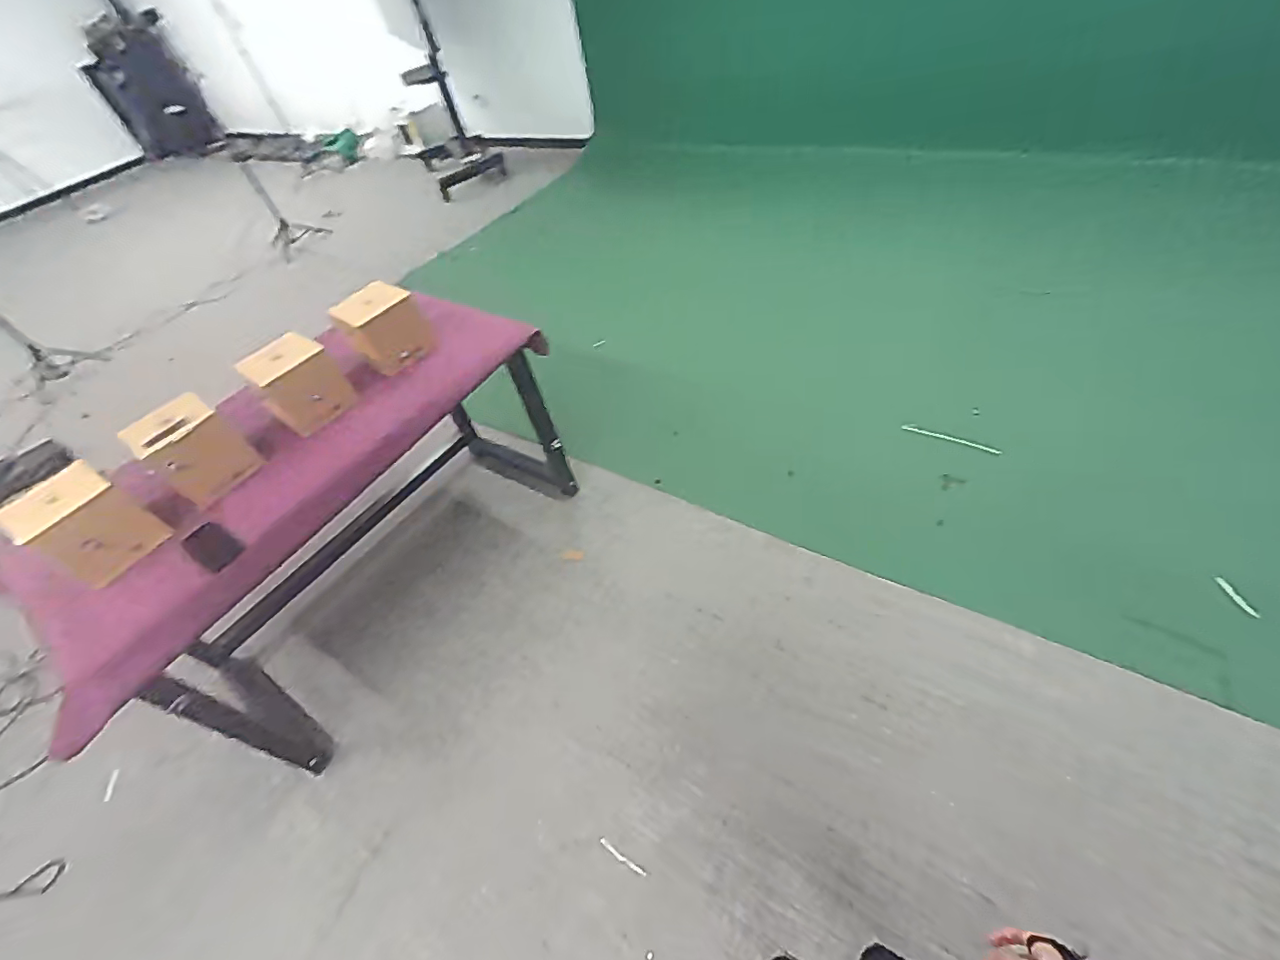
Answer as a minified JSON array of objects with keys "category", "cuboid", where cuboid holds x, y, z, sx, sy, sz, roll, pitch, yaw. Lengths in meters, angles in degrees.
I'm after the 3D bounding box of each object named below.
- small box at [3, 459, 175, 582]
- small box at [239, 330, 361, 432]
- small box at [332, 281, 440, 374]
[{"category":"small box","cuboid":[-1.141,0.088,1.133,0.179,0.176,0.168,20,56,28]},{"category":"small box","cuboid":[-0.850,-0.246,1.365,0.179,0.176,0.168,26,58,31]},{"category":"small box","cuboid":[-0.690,-0.416,1.482,0.179,0.176,0.168,28,61,32]}]
